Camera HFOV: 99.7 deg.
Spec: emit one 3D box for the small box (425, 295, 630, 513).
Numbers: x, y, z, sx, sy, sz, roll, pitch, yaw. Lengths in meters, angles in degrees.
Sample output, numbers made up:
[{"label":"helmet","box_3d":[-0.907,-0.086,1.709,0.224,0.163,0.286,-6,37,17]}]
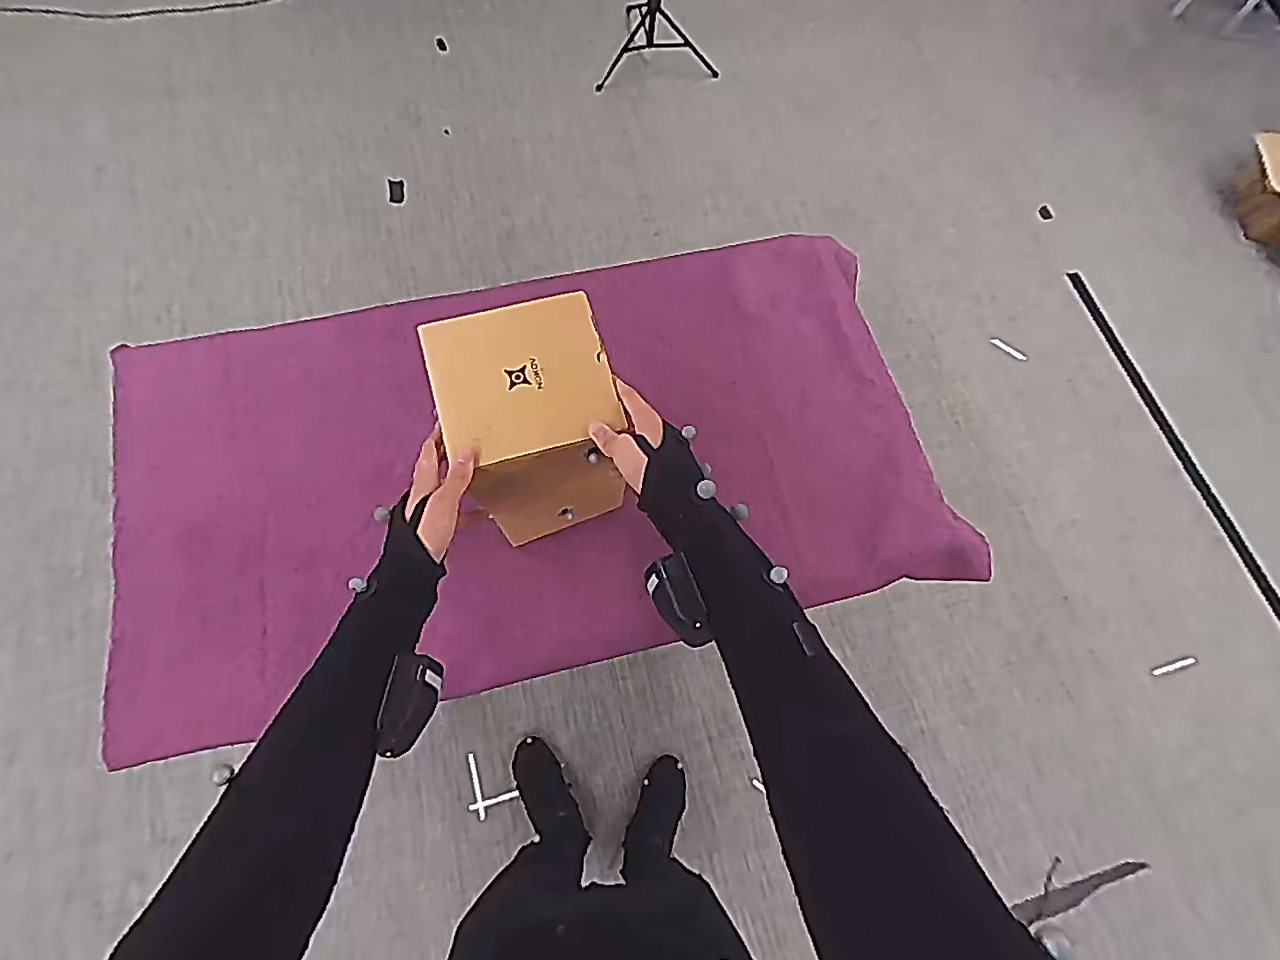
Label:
[{"label":"small box","box_3d":[-0.119,-0.075,0.611,0.179,0.176,0.168,-15,74,-10]}]
